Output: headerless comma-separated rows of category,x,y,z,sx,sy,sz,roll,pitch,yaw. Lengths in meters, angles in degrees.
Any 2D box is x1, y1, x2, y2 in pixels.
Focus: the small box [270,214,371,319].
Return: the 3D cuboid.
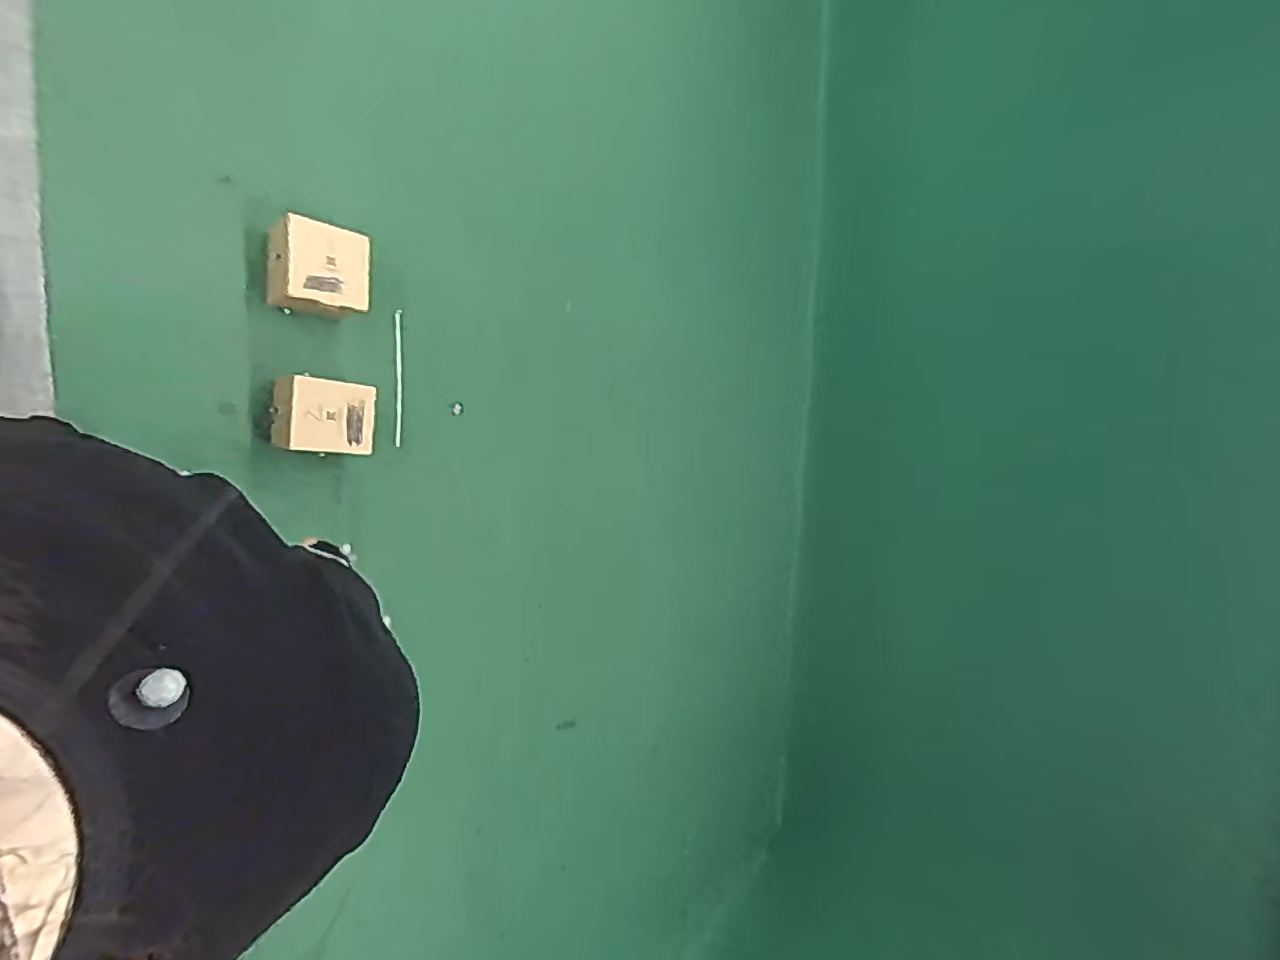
small box,-0.749,-0.486,1.266,0.168,0.176,0.179,0,93,-47
